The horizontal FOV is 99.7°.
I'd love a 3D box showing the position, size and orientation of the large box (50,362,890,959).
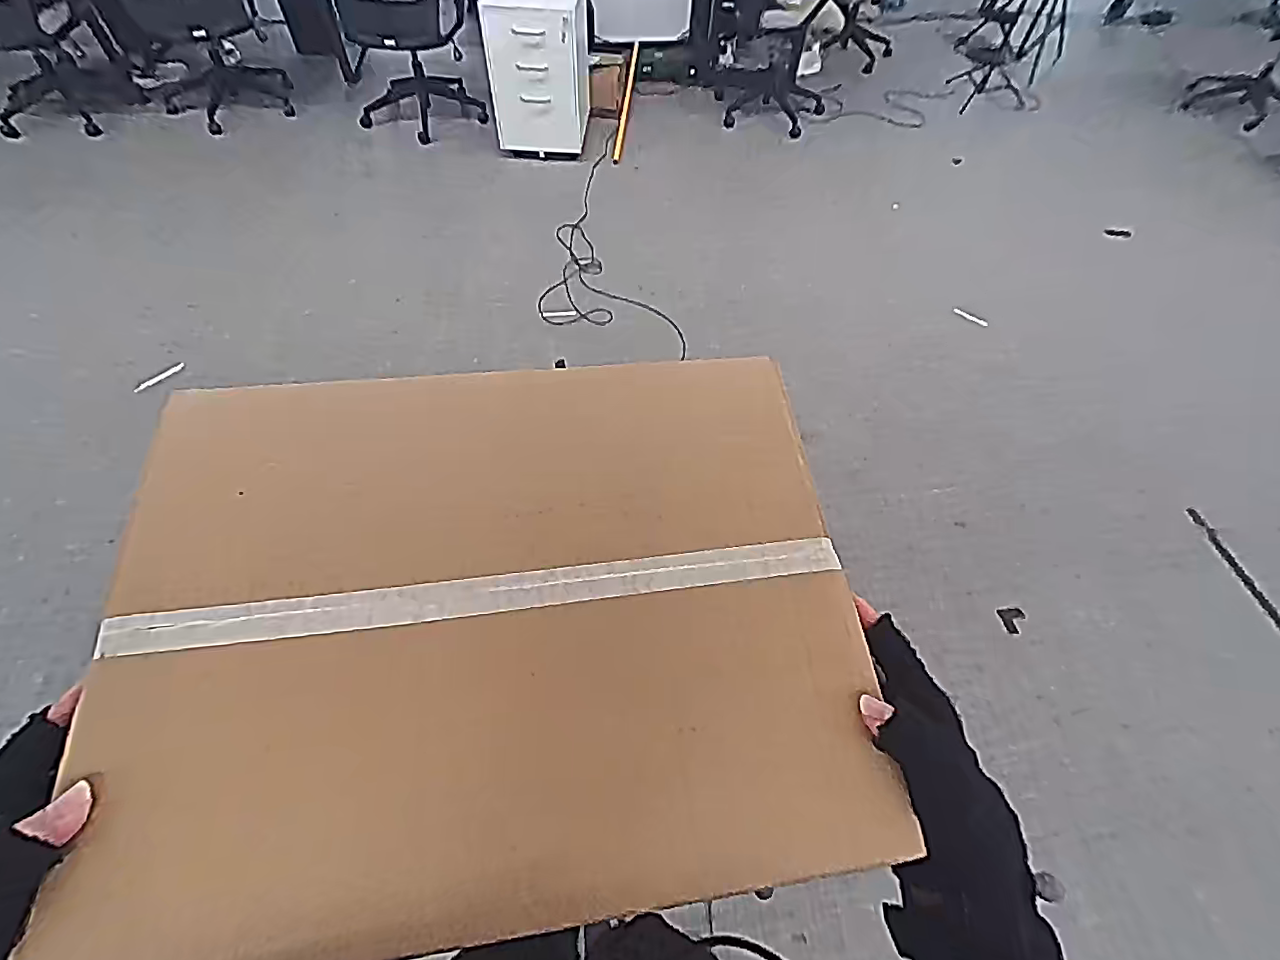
[{"bbox_3d":[-0.092,0.131,0.453,0.408,0.320,0.320,-5,64,-7],"label":"large box"}]
